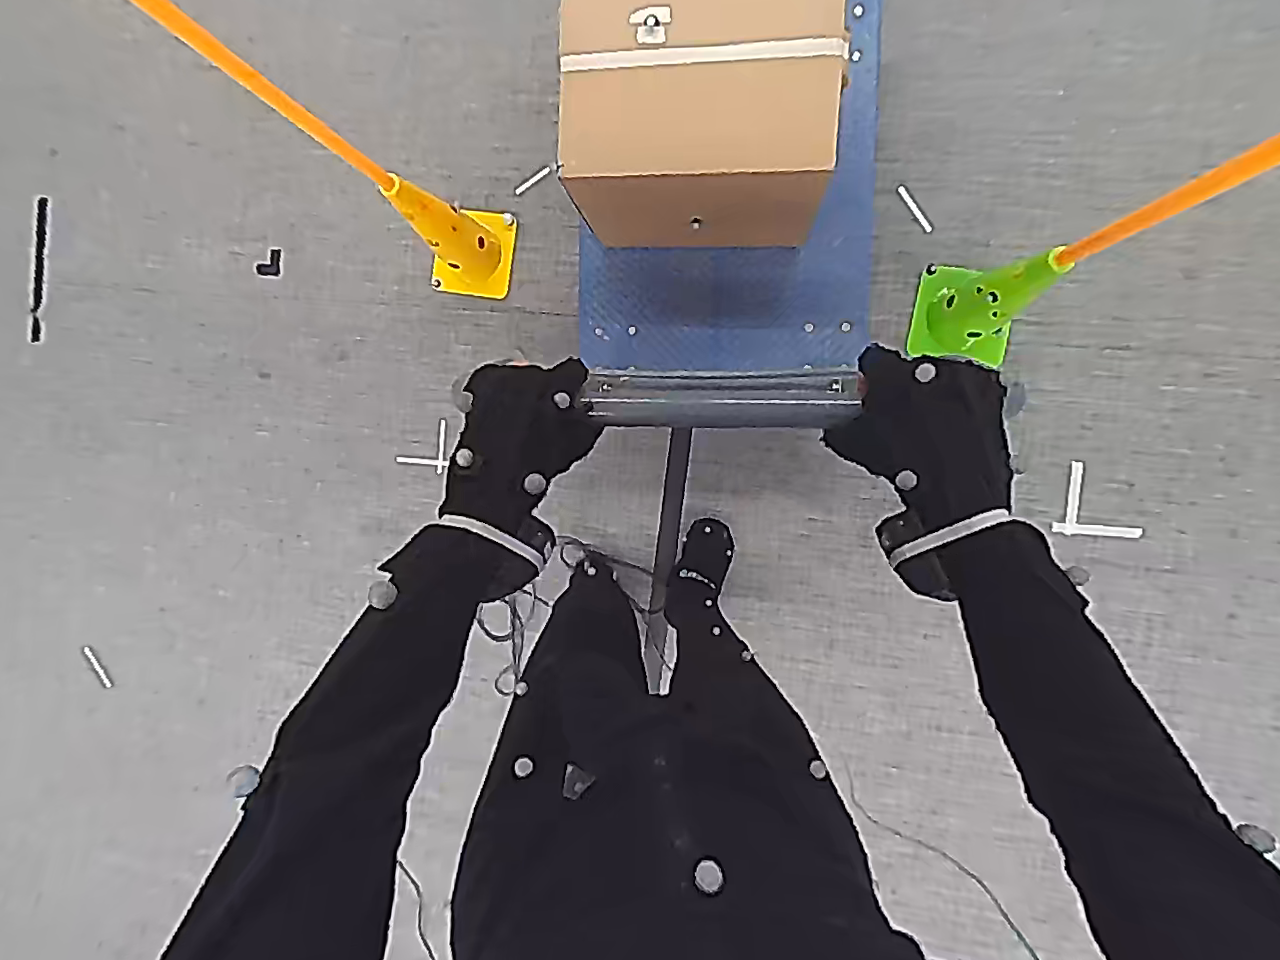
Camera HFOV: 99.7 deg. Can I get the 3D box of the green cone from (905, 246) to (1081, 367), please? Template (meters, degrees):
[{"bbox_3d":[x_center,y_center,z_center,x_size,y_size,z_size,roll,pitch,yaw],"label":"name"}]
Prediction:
[{"bbox_3d":[0.672,-0.346,1.004,0.202,0.368,0.200,10,95,7],"label":"green cone"}]

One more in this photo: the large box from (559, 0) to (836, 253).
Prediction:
[{"bbox_3d":[0.100,-0.600,0.932,0.408,0.320,0.320,3,95,9],"label":"large box"}]
